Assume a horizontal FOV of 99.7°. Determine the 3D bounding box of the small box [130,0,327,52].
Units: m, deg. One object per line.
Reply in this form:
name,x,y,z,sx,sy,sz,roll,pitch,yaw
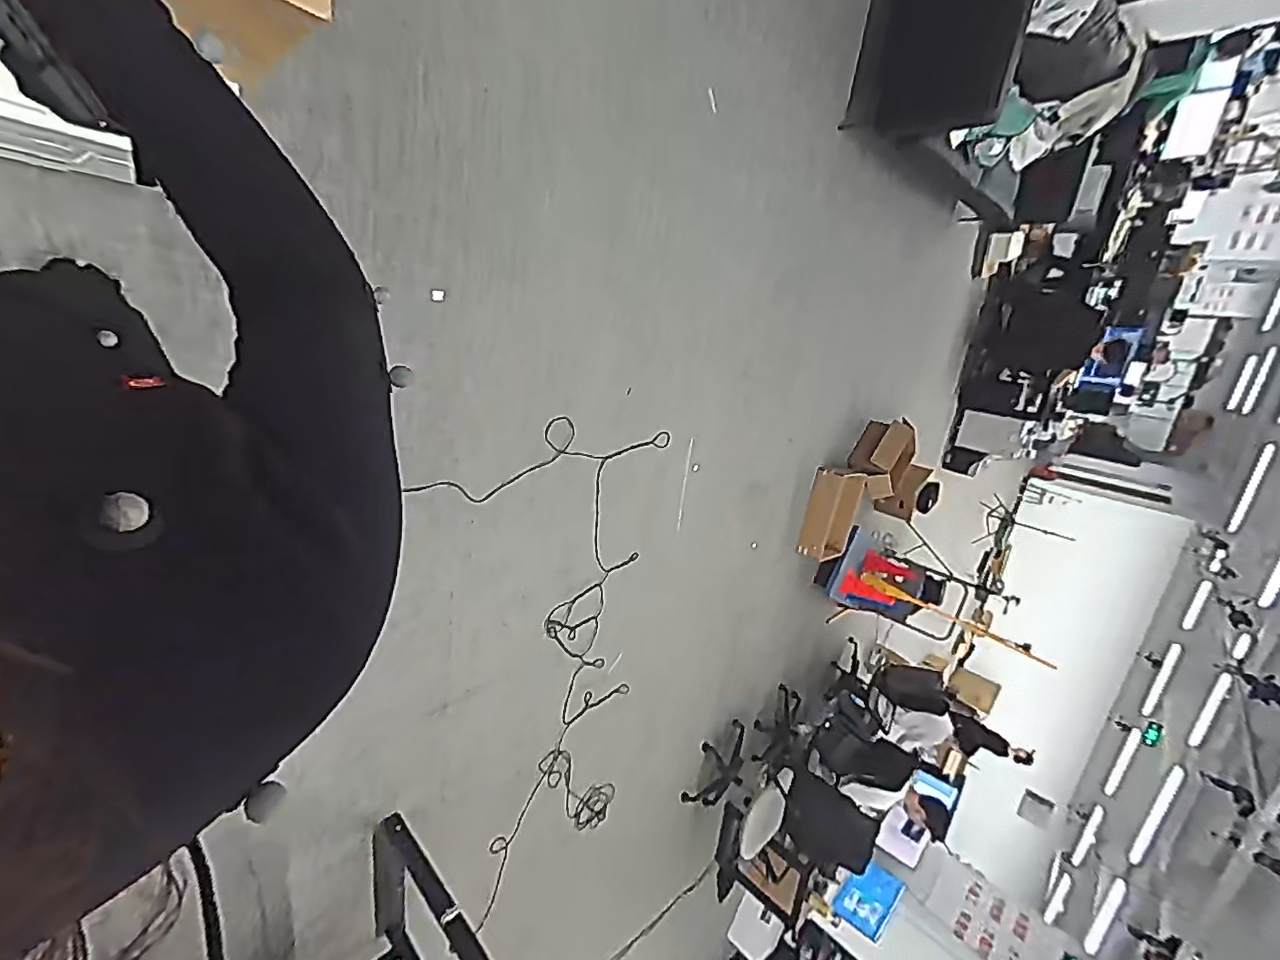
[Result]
small box,-0.372,-0.487,0.432,0.179,0.176,0.168,-6,111,-46
